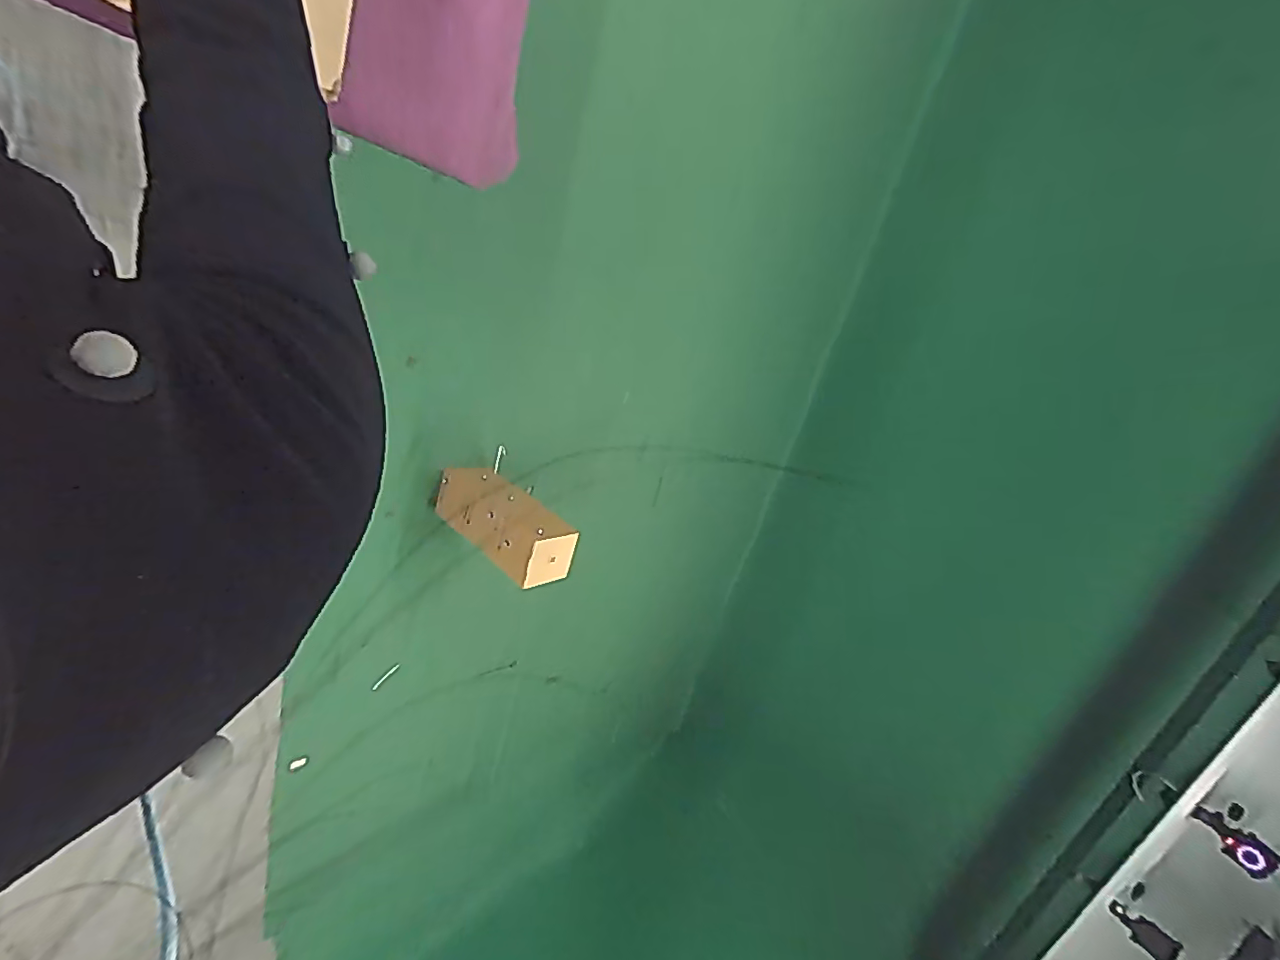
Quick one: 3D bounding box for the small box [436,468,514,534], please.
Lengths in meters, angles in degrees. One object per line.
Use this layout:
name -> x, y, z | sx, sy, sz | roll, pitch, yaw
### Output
small box -> -0.566, 0.067, 1.842 | 0.179, 0.176, 0.168 | -4, 118, -52

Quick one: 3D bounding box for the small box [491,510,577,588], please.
small box -> -0.327, 0.203, 1.664 | 0.179, 0.176, 0.168 | -7, 121, -50
